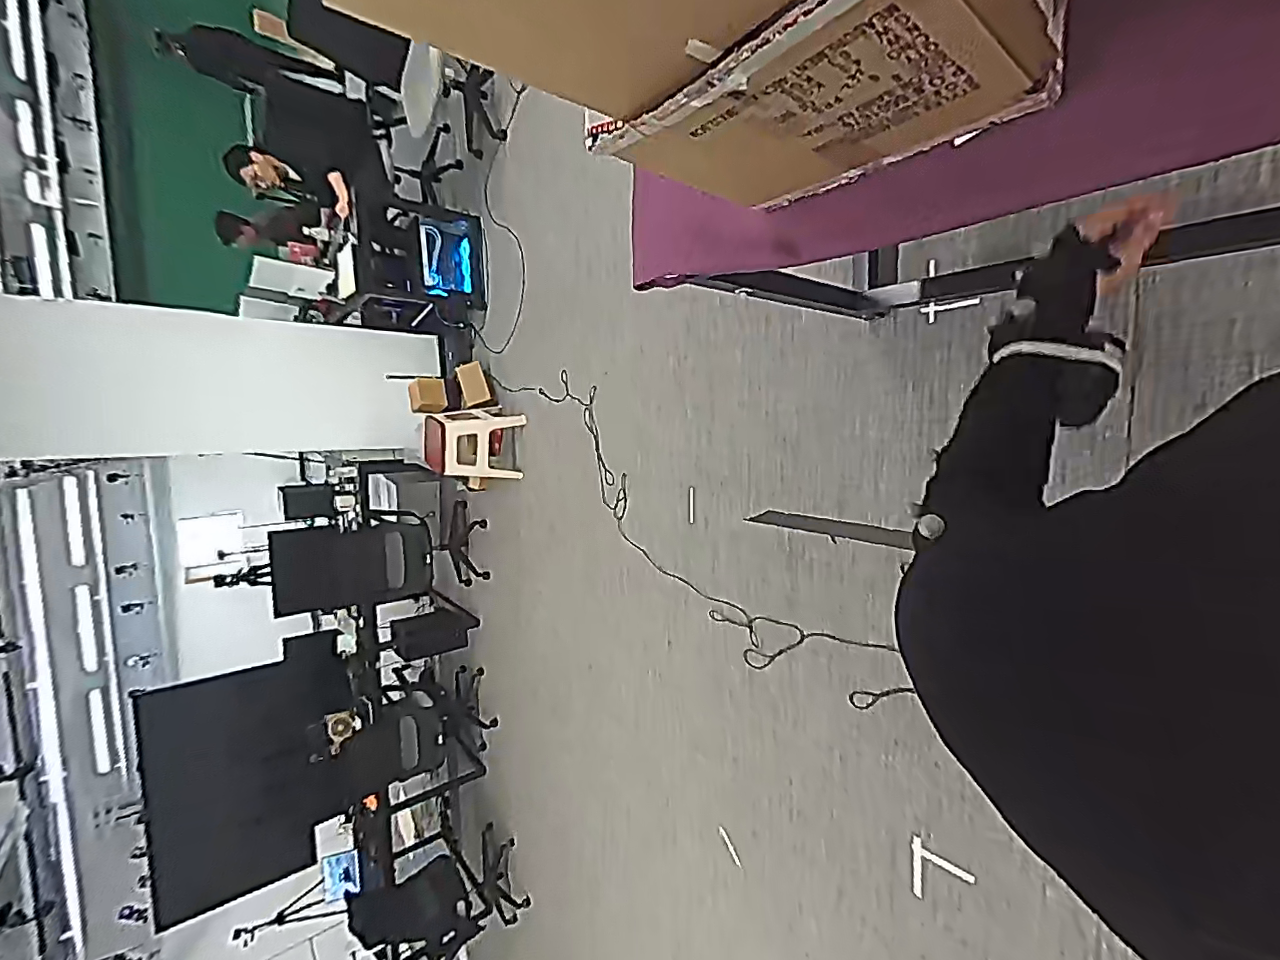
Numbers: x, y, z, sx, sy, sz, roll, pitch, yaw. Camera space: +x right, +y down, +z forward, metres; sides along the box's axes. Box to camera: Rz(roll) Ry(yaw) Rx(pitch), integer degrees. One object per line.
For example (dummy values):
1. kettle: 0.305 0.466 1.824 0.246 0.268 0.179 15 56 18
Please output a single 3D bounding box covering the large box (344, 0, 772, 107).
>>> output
1. large box: -0.046 -0.594 0.392 0.320 0.320 0.408 11 104 55
